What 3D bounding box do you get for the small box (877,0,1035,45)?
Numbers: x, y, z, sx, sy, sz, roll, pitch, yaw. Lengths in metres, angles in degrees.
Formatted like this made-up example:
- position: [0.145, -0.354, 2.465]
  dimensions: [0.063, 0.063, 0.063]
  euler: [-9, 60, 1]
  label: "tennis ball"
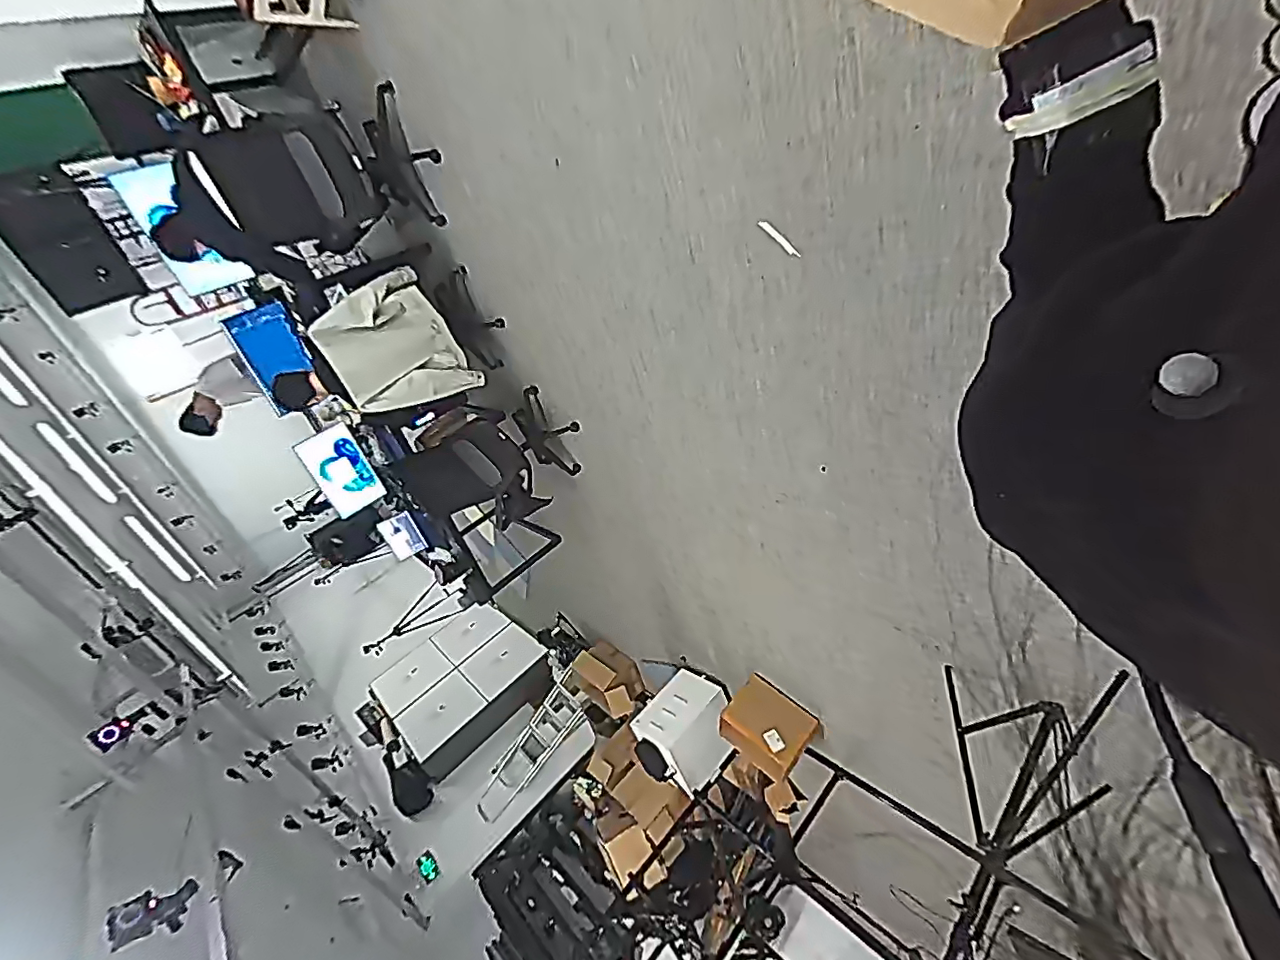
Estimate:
- position: [0.157, -0.323, 0.215]
  dimensions: [0.179, 0.176, 0.168]
  euler: [45, 157, 19]
  label: "small box"
